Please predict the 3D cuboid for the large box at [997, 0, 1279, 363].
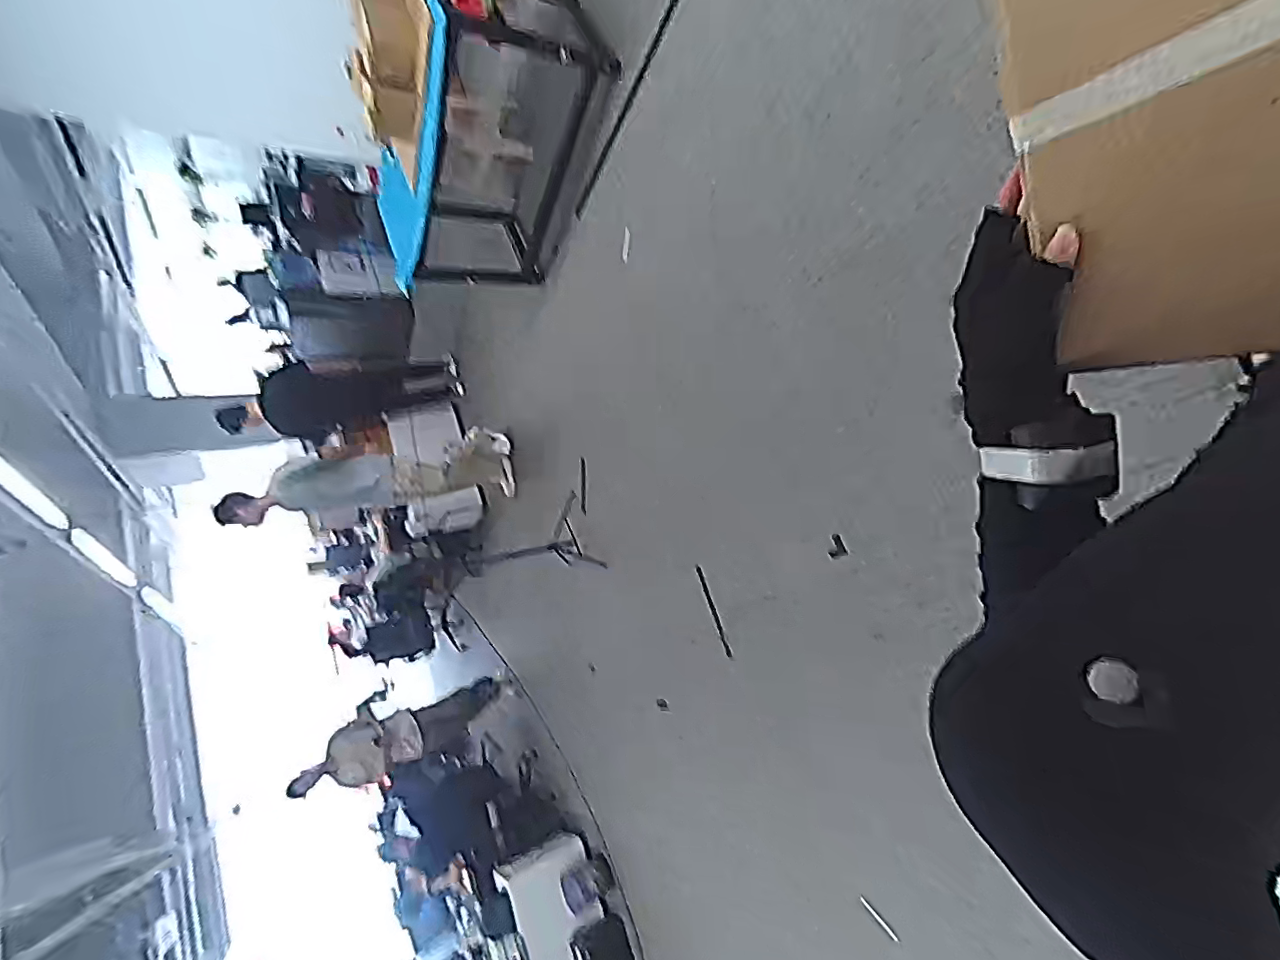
[{"bbox_3d":[0.463,-0.276,0.251,0.408,0.320,0.320,4,119,57],"label":"large box"}]
